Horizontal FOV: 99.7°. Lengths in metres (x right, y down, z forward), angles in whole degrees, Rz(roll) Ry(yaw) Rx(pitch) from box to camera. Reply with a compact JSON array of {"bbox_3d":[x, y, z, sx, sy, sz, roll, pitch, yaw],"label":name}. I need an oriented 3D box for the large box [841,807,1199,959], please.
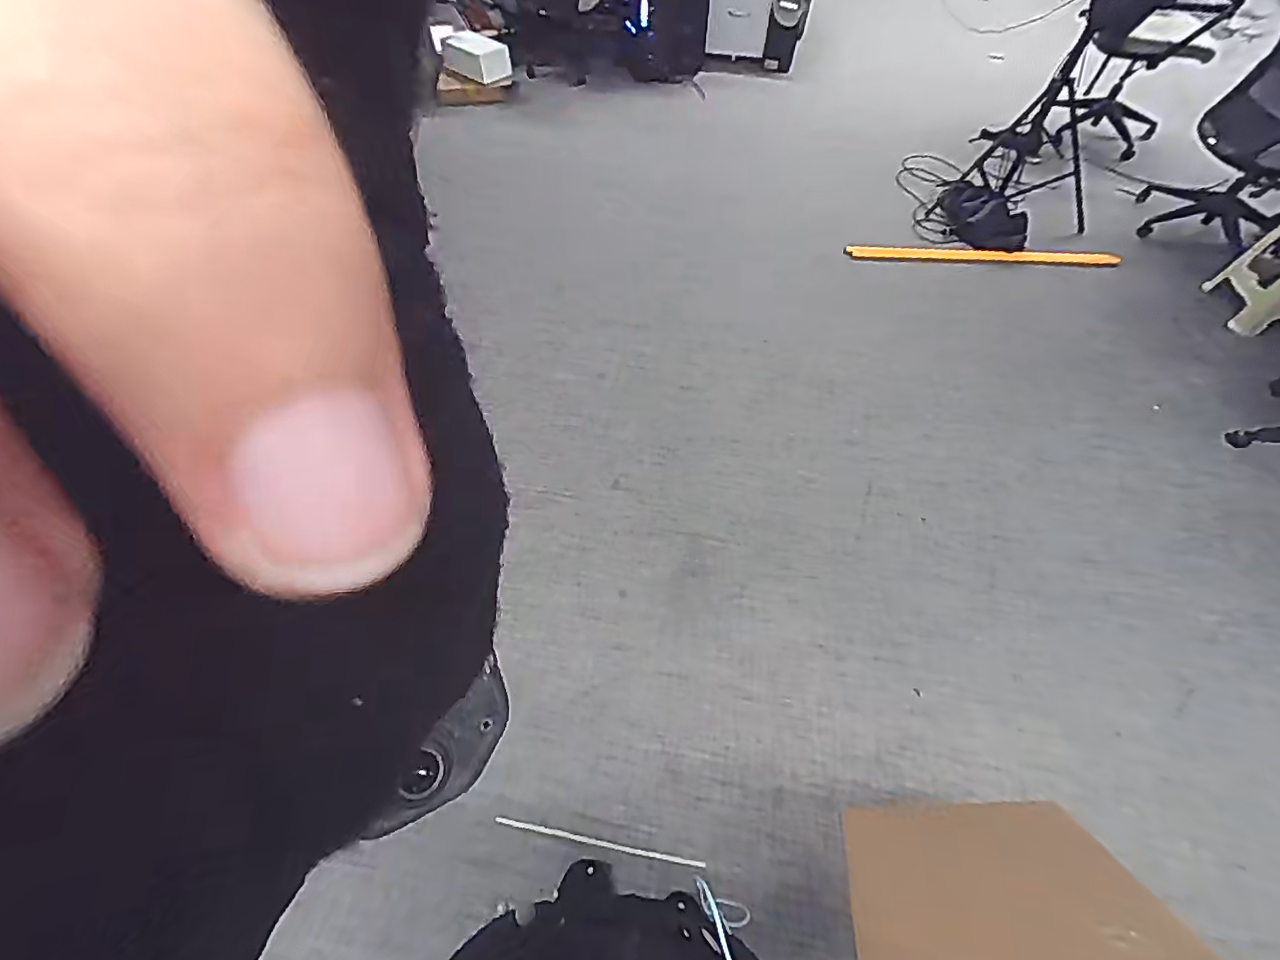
[{"bbox_3d":[0.420,0.622,0.617,0.320,0.408,0.320,-11,77,17],"label":"large box"}]
